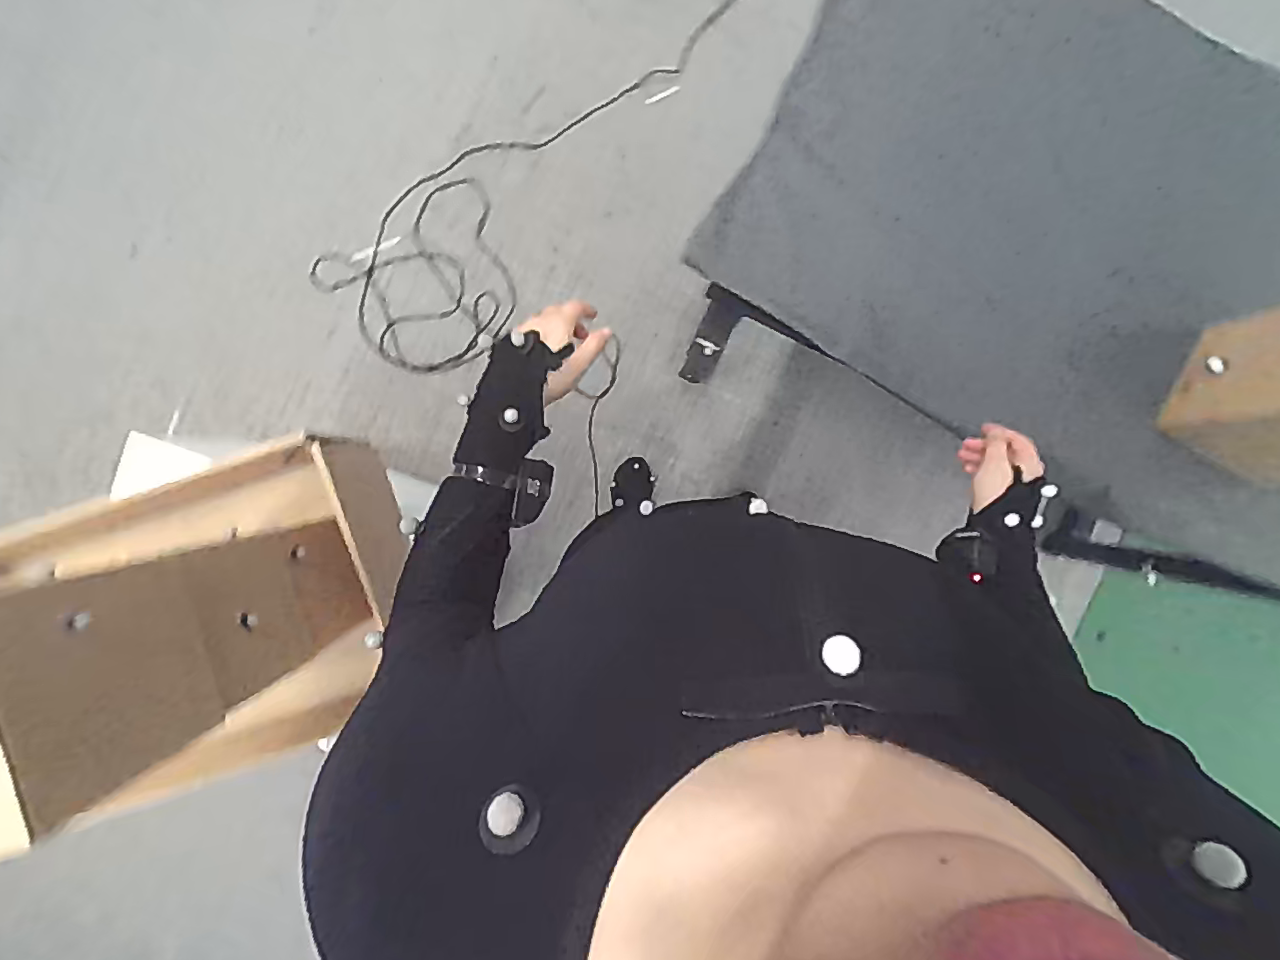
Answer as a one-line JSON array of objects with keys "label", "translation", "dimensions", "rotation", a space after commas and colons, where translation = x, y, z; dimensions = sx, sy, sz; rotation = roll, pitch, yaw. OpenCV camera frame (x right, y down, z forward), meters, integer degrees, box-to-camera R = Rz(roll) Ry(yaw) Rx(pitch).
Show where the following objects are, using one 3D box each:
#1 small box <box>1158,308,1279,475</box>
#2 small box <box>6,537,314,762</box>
[{"label": "small box", "translation": [0.839, -0.113, 0.683], "dimensions": [0.179, 0.176, 0.168], "rotation": [29, 89, -1]}, {"label": "small box", "translation": [-0.512, 0.170, 0.607], "dimensions": [0.168, 0.176, 0.179], "rotation": [-17, 93, 2]}]
